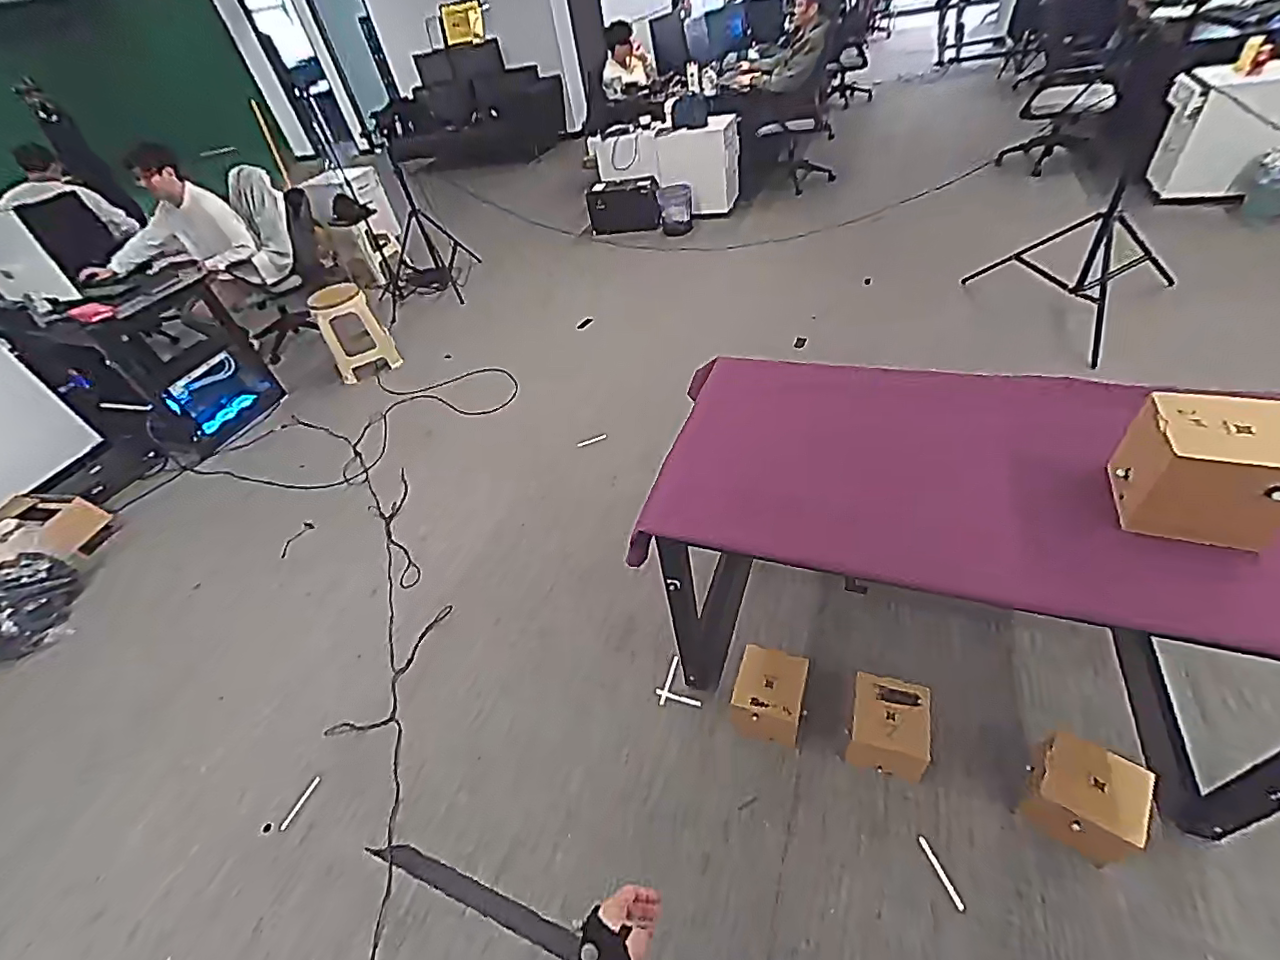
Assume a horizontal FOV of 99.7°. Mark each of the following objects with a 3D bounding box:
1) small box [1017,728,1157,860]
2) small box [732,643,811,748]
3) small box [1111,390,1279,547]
[{"bbox_3d":[0.958,0.683,1.169,0.179,0.176,0.168,23,54,33],"label":"small box"},{"bbox_3d":[0.346,0.568,1.428,0.168,0.176,0.179,10,46,22],"label":"small box"},{"bbox_3d":[0.889,-0.018,0.846,0.179,0.176,0.168,10,47,23],"label":"small box"}]
